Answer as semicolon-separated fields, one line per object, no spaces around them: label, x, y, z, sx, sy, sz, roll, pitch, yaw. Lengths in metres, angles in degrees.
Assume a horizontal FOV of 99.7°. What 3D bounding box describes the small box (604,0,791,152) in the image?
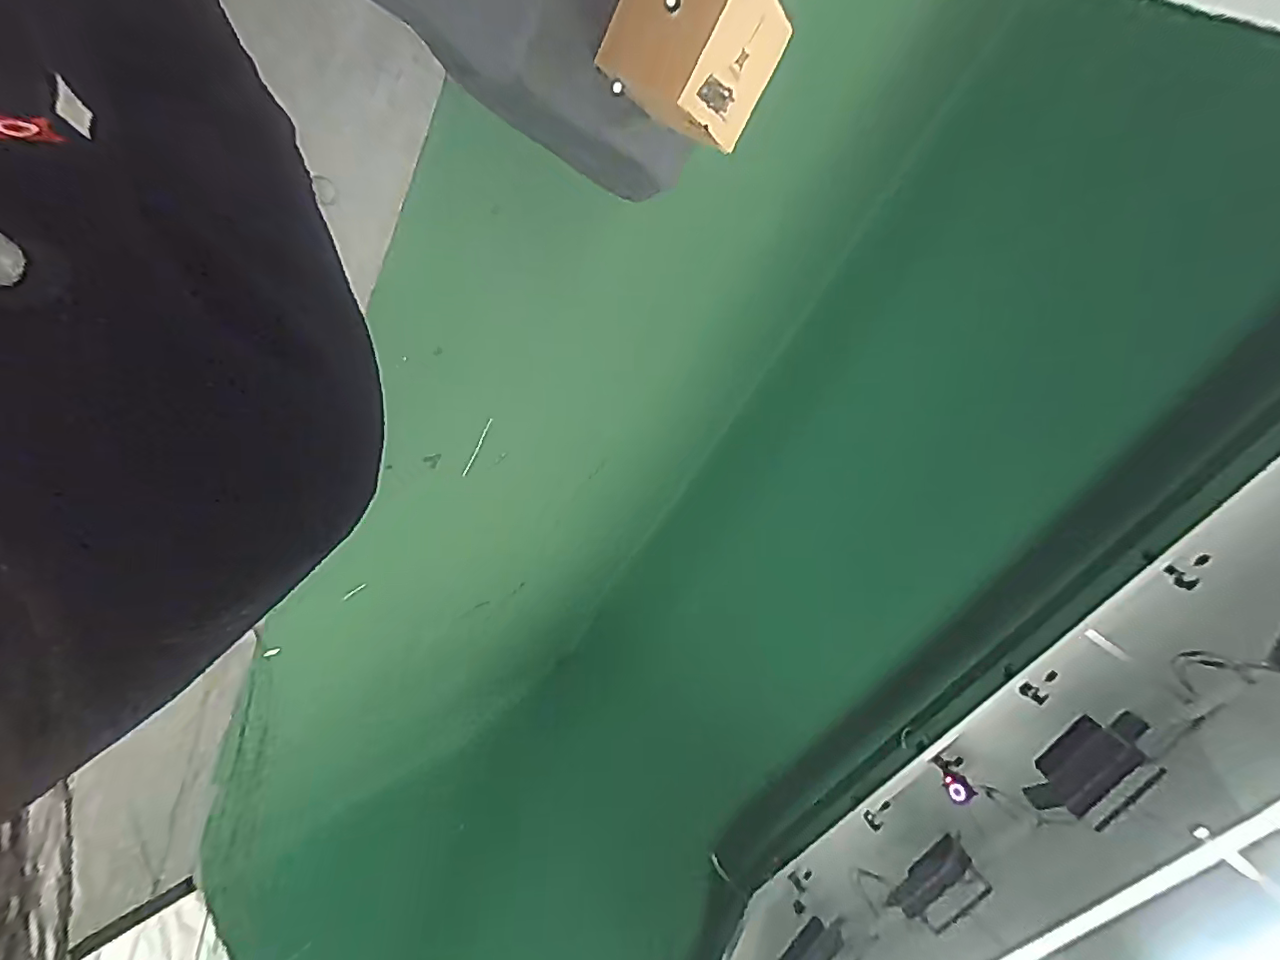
small box;0.074;-0.613;0.763;0.168;0.176;0.179;-9;135;-58
